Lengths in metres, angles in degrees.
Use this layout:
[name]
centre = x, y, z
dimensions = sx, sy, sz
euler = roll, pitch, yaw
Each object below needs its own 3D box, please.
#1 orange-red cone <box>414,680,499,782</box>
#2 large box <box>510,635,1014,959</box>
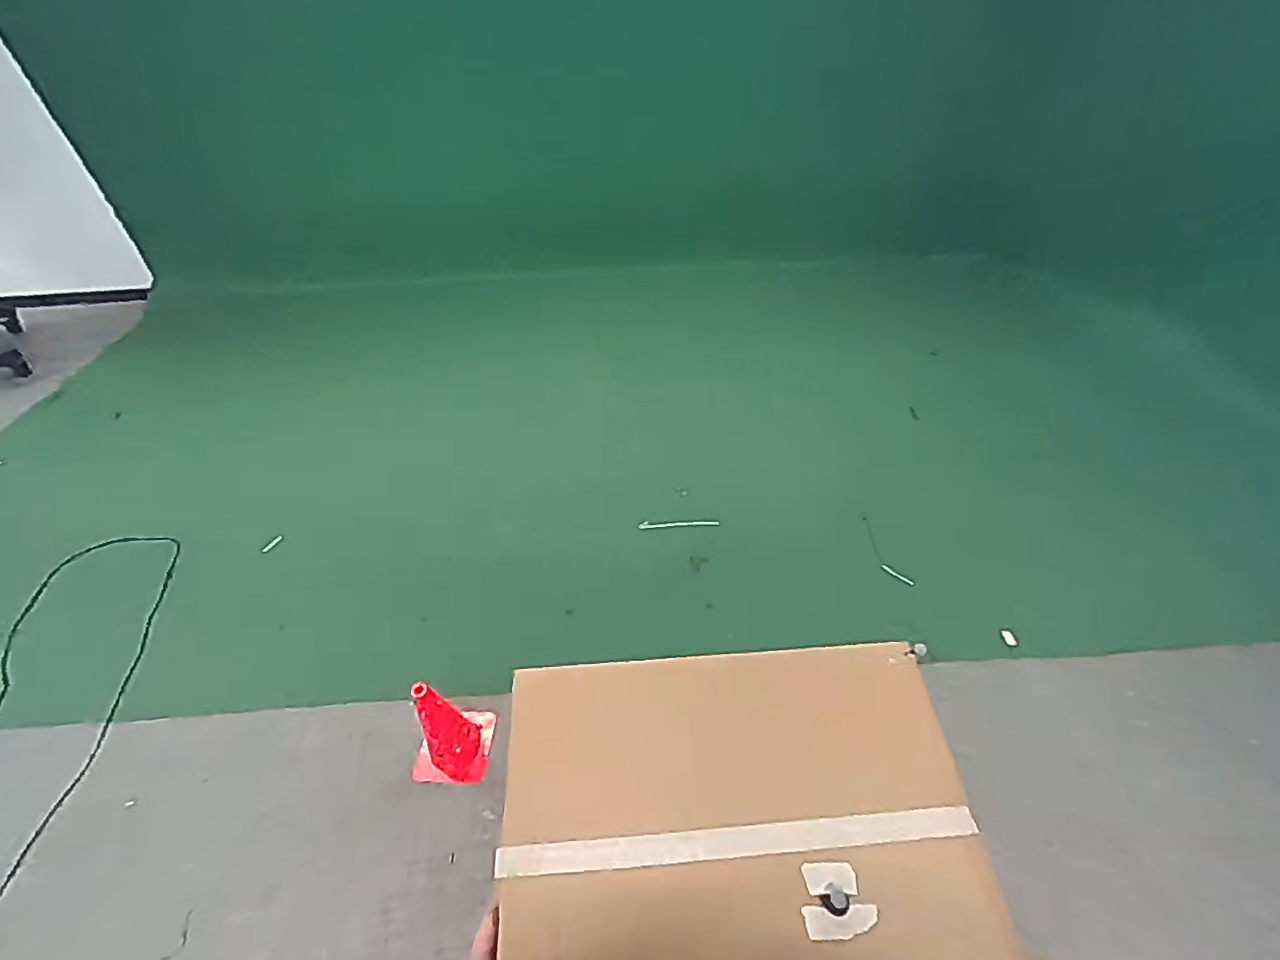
[orange-red cone]
centre = -0.534, 0.642, 1.451
dimensions = 0.199, 0.360, 0.198
euler = 0, 43, 5
[large box]
centre = 0.086, 0.389, 0.598
dimensions = 0.408, 0.320, 0.320
euler = -4, 56, -3
